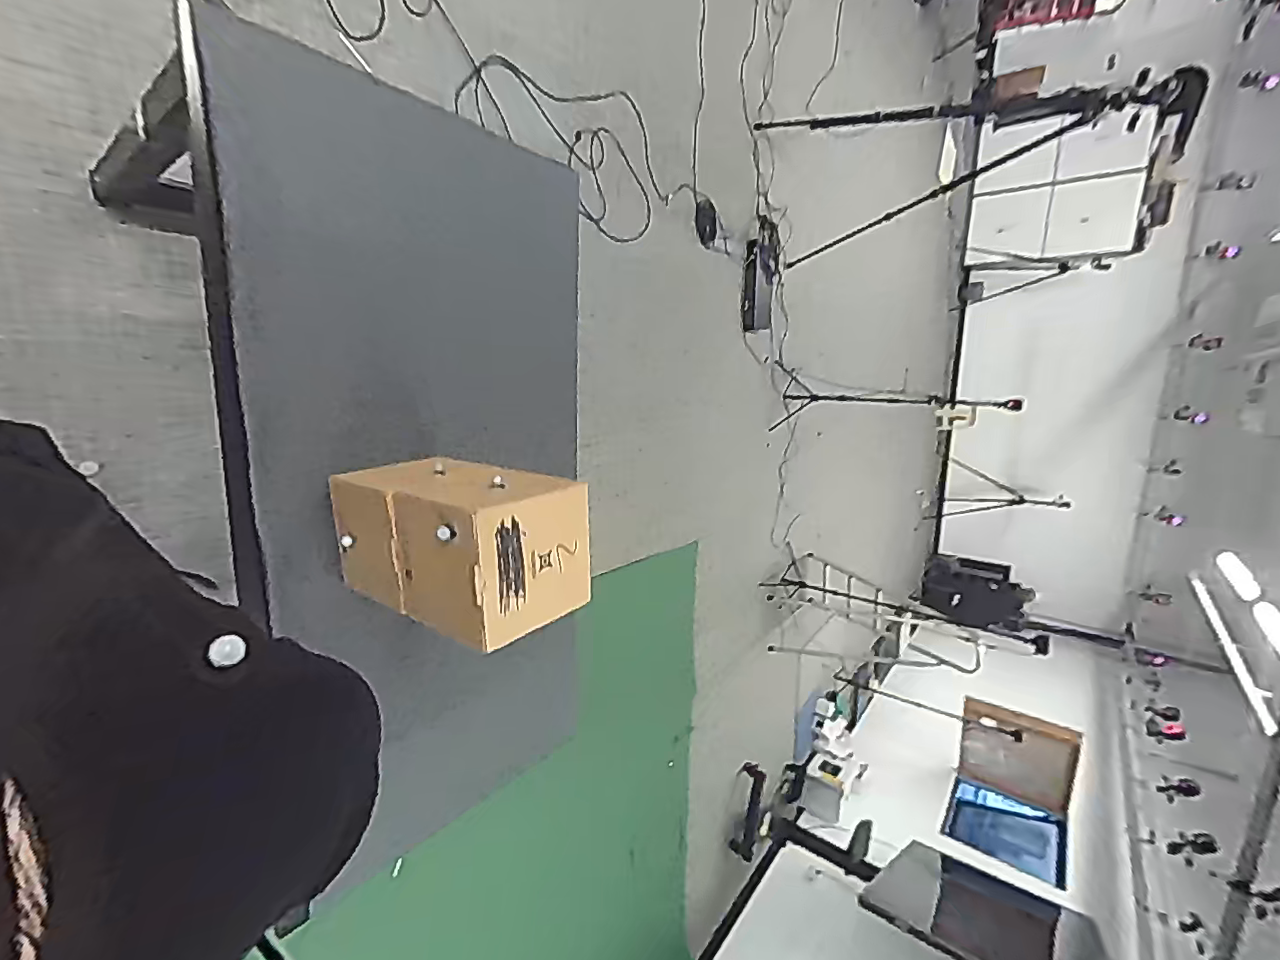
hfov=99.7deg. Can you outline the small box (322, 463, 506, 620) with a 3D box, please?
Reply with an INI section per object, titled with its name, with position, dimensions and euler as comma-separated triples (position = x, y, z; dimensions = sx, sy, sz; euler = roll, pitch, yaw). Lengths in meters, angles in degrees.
[small box]
position = -0.318, 0.073, 0.773
dimensions = 0.179, 0.176, 0.168
euler = -17, 110, -51
